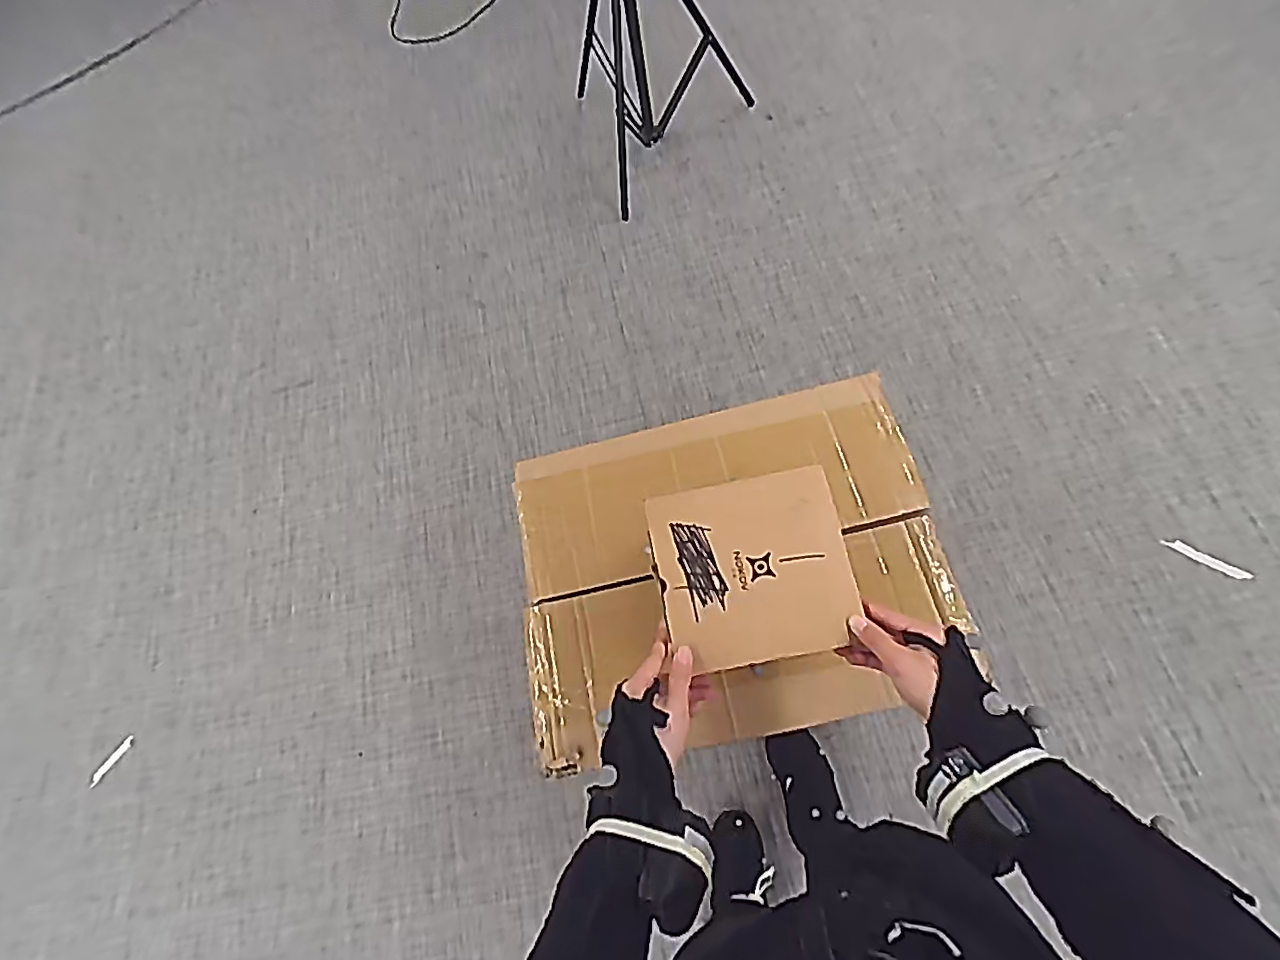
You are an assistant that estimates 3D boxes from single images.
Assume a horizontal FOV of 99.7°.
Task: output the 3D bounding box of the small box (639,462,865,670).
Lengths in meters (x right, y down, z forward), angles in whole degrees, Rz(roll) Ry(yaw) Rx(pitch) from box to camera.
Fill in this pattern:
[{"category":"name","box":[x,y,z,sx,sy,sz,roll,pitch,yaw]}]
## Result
[{"category":"small box","box":[0.106,0.095,0.570,0.179,0.176,0.168,-12,76,3]}]
